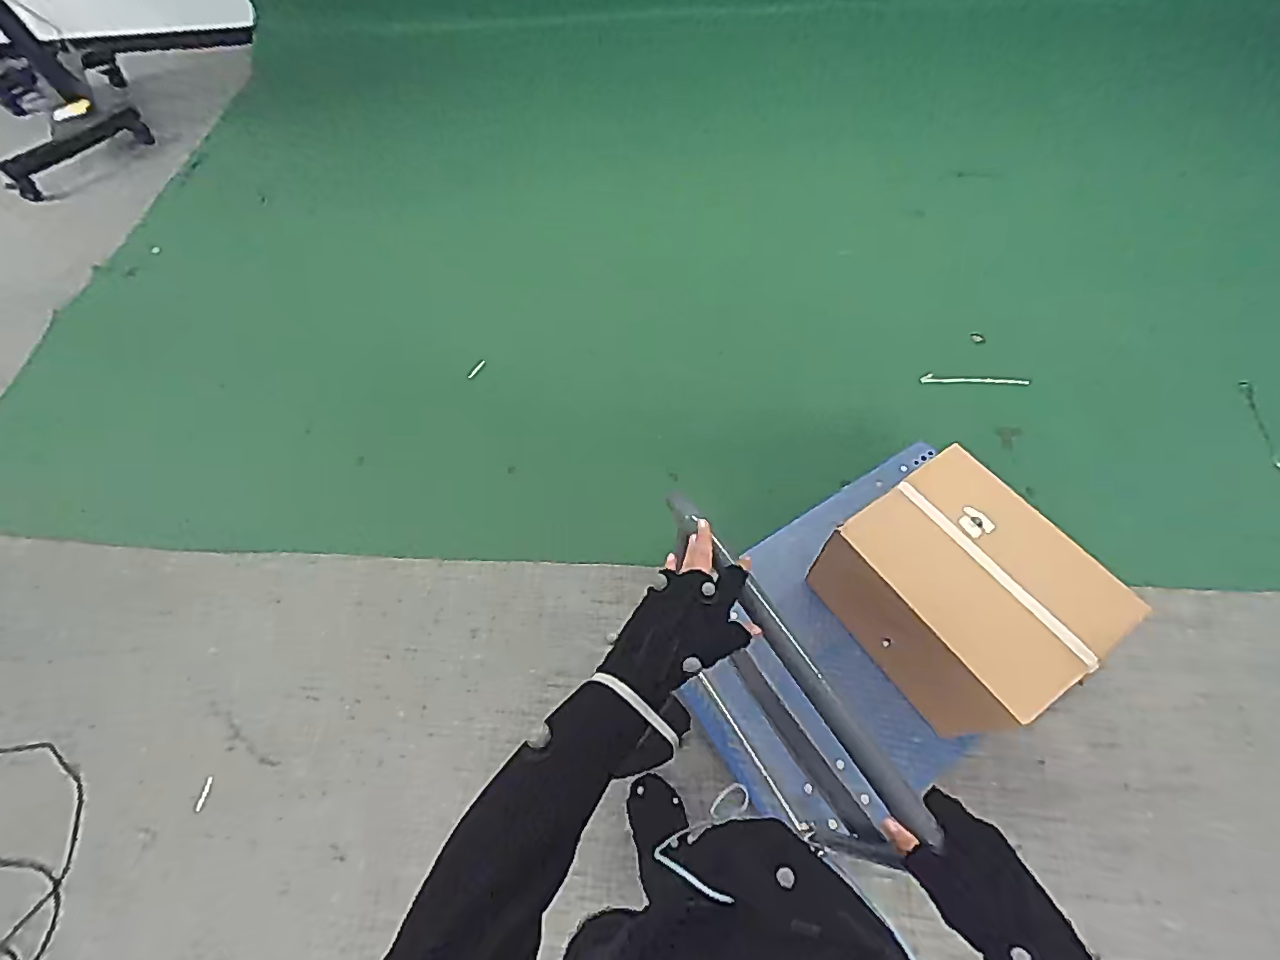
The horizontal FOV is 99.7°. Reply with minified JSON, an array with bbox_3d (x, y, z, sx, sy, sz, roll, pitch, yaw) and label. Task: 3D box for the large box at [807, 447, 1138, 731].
[{"bbox_3d":[0.606,0.221,1.077,0.320,0.320,0.408,-33,63,-13],"label":"large box"}]
